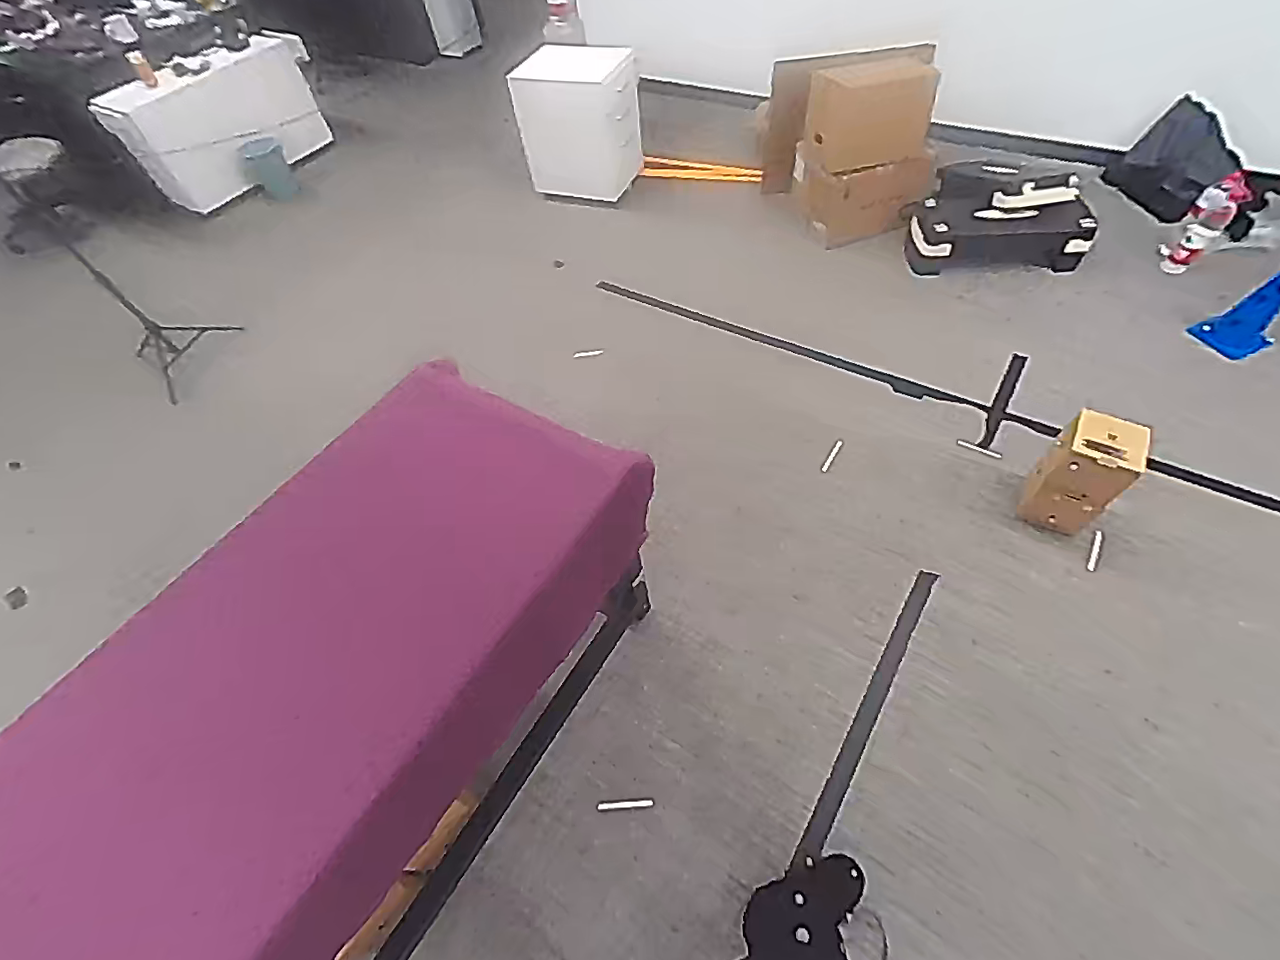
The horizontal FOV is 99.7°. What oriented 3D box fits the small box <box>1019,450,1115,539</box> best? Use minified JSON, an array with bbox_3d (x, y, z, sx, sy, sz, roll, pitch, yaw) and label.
[{"bbox_3d":[1.288,0.045,1.639,0.168,0.176,0.179,23,62,21],"label":"small box"}]
